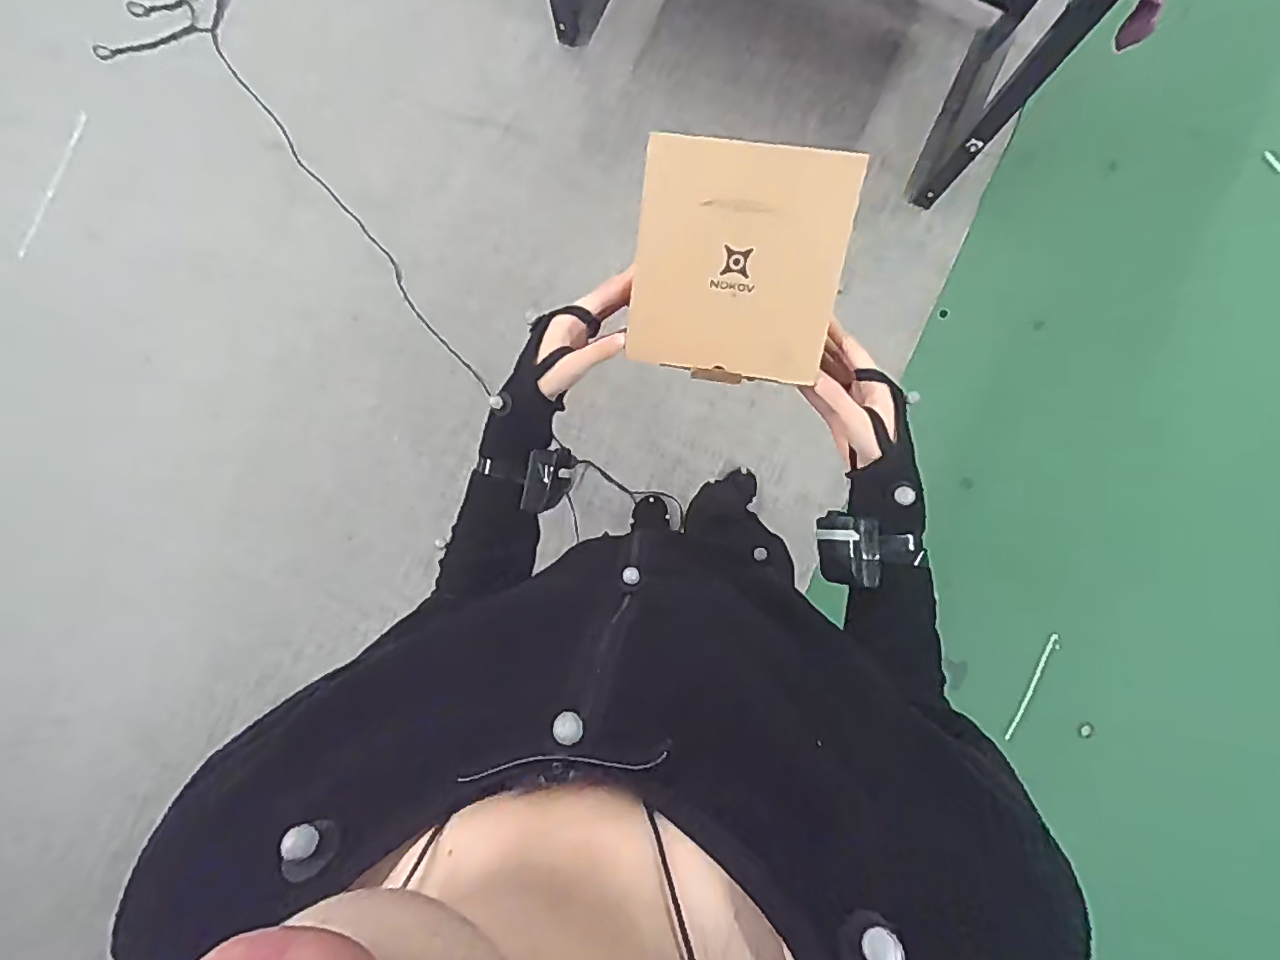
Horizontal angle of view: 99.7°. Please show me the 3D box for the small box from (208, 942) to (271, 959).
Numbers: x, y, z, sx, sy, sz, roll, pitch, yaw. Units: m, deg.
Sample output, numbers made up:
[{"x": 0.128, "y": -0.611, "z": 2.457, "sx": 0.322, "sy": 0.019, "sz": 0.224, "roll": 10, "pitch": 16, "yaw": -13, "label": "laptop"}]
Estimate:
[{"x": -0.793, "y": 1.028, "z": 1.008, "sx": 0.168, "sy": 0.176, "sz": 0.179, "roll": 19, "pitch": 85, "yaw": 2, "label": "small box"}]
